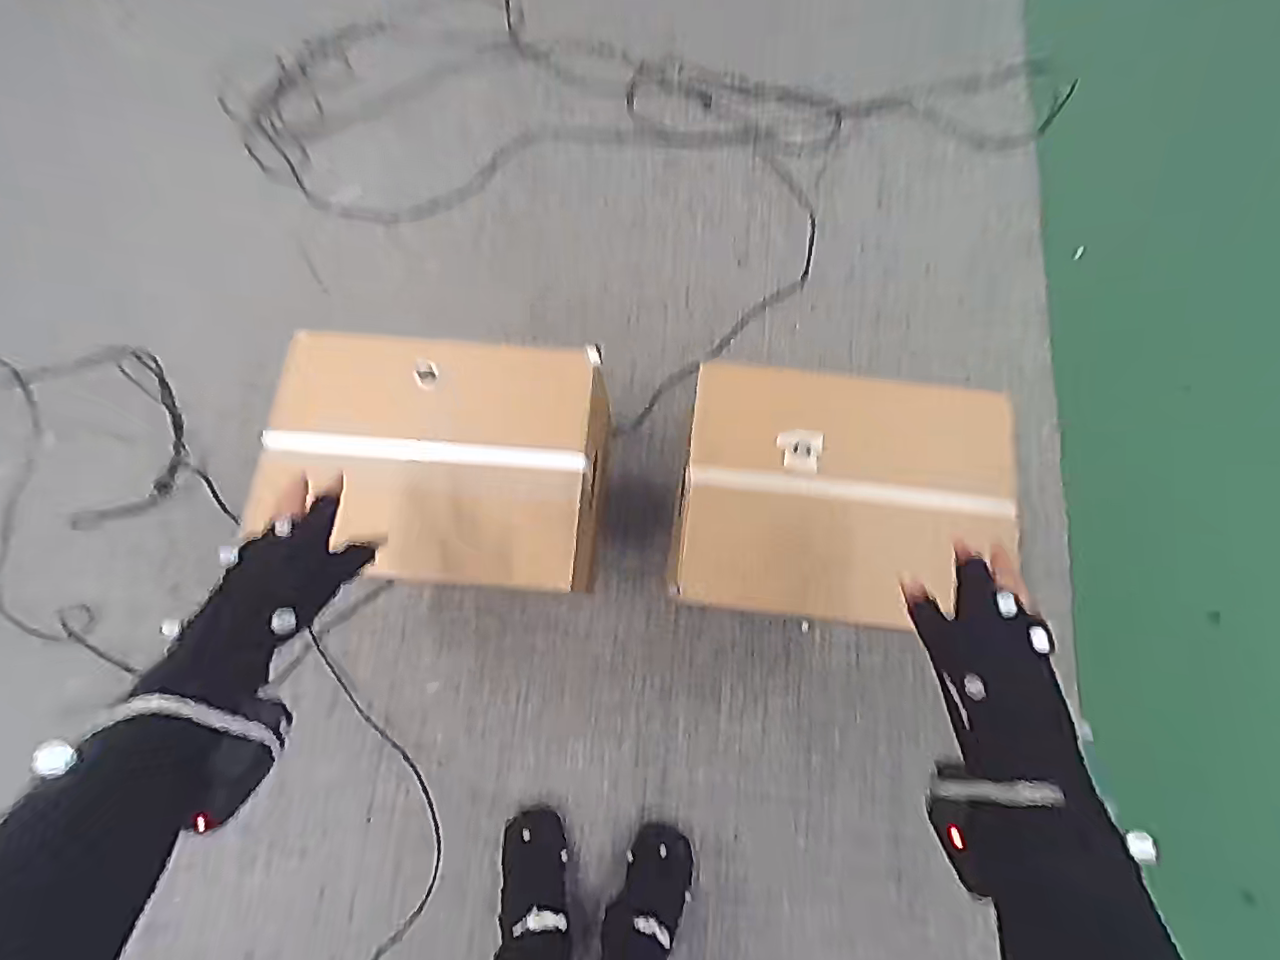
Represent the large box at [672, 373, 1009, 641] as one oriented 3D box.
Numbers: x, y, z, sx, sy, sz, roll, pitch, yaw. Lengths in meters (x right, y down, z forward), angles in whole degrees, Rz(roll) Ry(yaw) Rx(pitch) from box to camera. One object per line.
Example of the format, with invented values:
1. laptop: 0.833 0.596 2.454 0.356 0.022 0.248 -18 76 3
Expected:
1. large box: 0.270 0.054 0.833 0.408 0.320 0.320 7 77 3
